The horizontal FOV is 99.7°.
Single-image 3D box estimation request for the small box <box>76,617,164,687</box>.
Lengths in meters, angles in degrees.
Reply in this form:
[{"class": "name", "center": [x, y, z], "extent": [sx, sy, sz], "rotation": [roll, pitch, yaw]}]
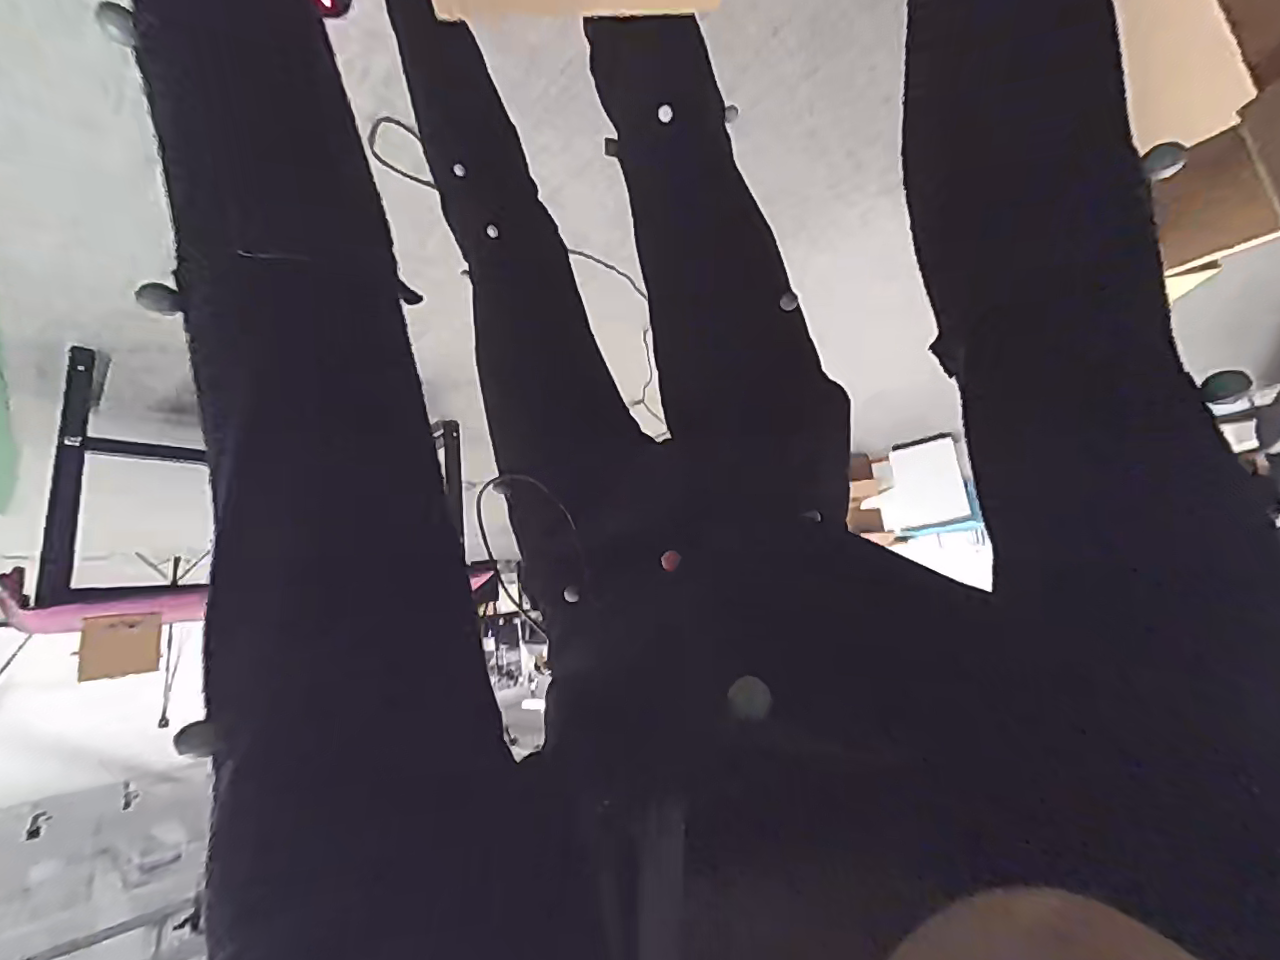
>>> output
[{"class": "small box", "center": [-1.459, 0.478, 1.519], "extent": [0.179, 0.176, 0.168], "rotation": [-18, 163, 42]}]
